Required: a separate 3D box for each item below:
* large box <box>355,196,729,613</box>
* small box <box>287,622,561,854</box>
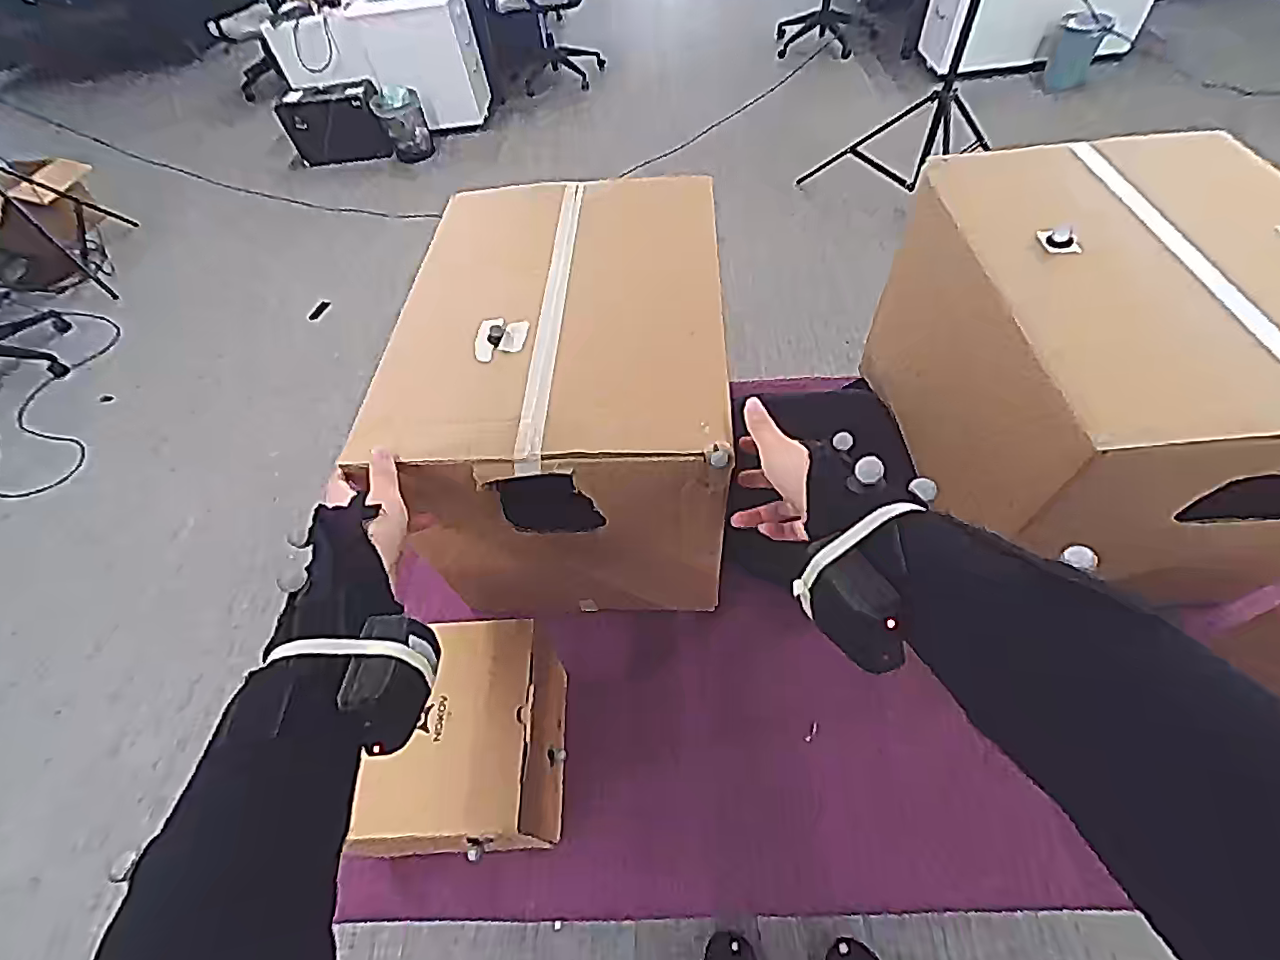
[{"bbox_3d":[-0.069,-0.081,0.658,0.320,0.320,0.408,-2,57,6],"label":"large box"},{"bbox_3d":[-0.179,0.249,0.515,0.179,0.176,0.168,-3,53,0],"label":"small box"}]
